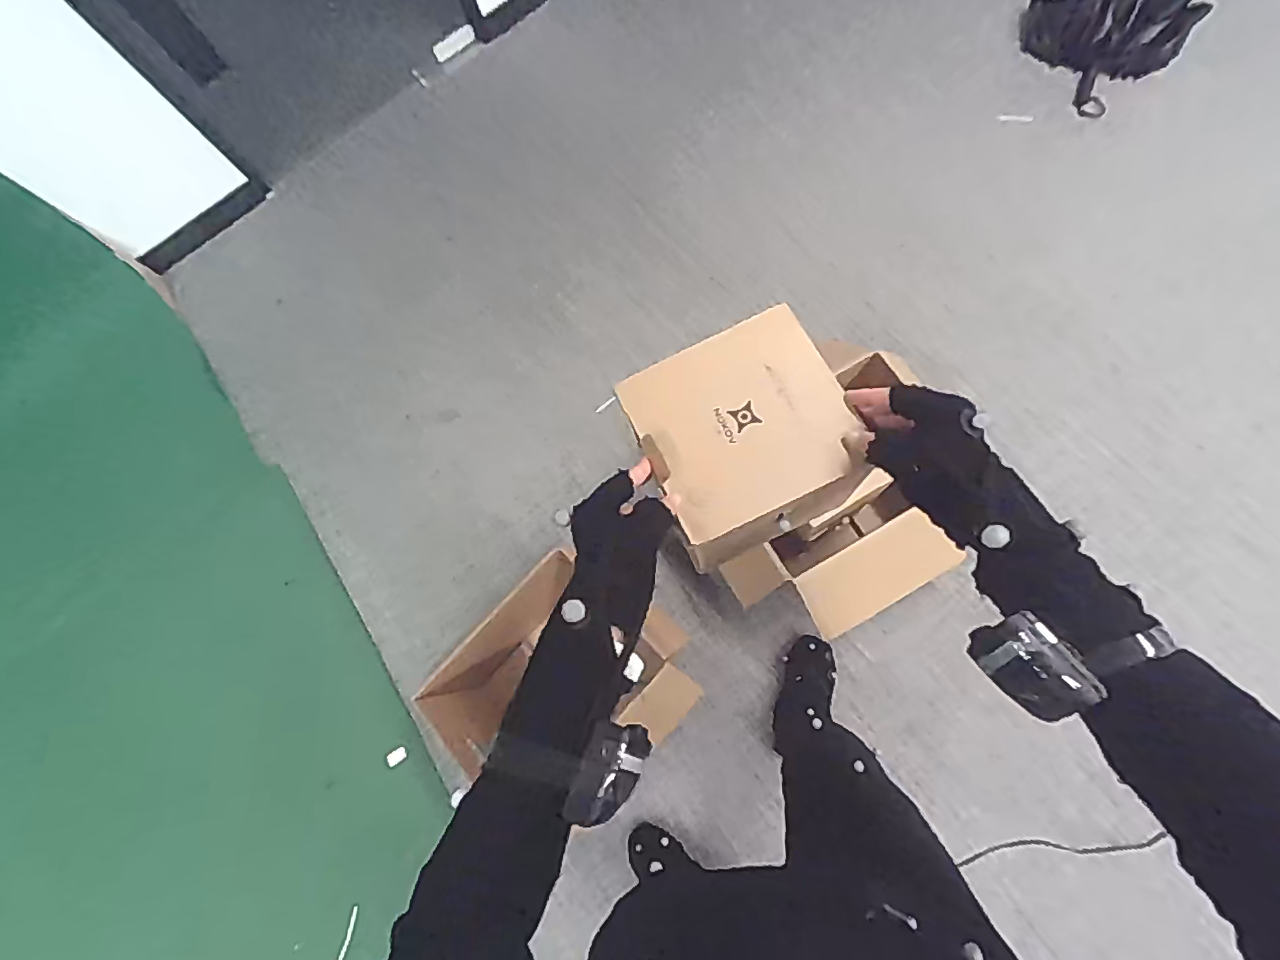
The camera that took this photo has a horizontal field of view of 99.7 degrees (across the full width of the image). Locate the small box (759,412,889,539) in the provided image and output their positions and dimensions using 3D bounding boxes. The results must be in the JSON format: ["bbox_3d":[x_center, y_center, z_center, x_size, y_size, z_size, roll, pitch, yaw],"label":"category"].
[{"bbox_3d":[0.355,-0.003,1.084,0.179,0.176,0.168,-32,71,0],"label":"small box"}]
